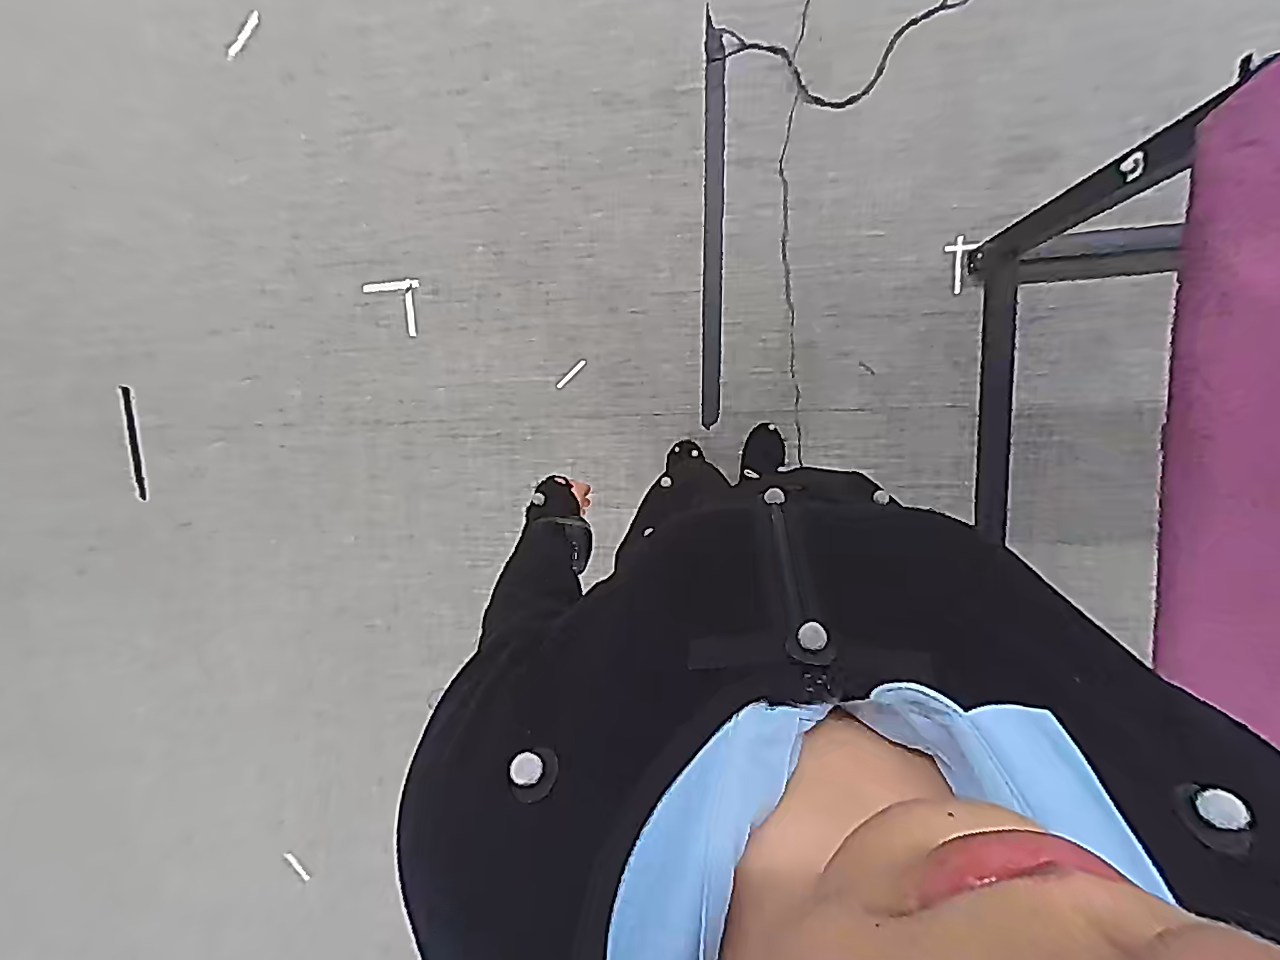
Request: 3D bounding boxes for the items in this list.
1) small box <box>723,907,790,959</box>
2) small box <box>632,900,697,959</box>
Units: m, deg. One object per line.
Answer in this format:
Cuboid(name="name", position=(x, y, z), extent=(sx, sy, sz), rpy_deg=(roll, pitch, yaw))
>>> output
Cuboid(name="small box", position=(0.331, 1.343, 1.515), extent=(0.179, 0.176, 0.168), rpy_deg=(-6, 98, 10))
Cuboid(name="small box", position=(0.075, 1.365, 1.556), extent=(0.168, 0.176, 0.179), rpy_deg=(-5, 97, 8))
